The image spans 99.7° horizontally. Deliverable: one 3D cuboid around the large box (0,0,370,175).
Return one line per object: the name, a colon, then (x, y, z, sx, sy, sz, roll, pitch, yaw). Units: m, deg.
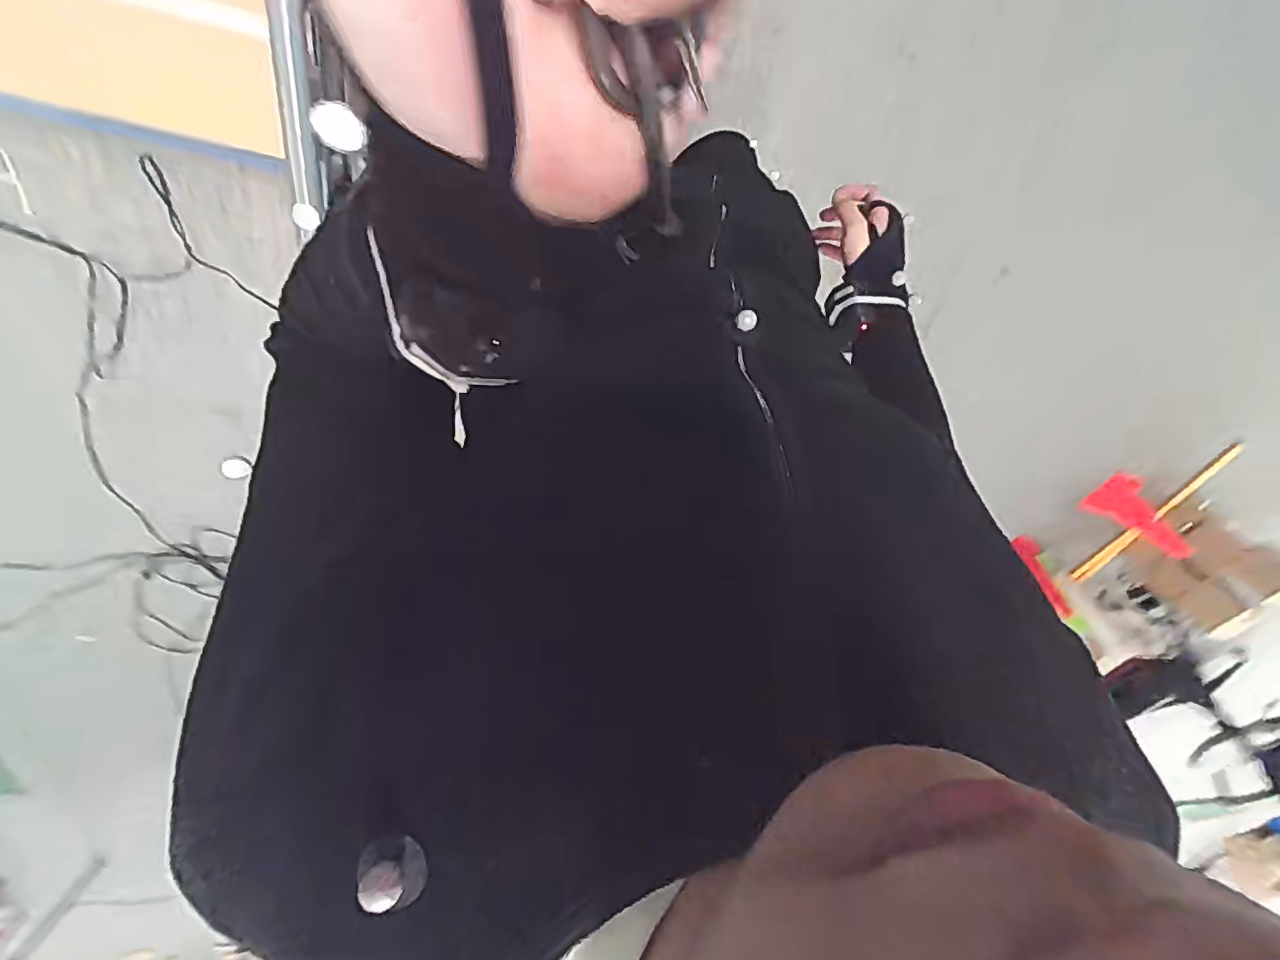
large box: (-0.683, -0.698, 0.825, 0.408, 0.320, 0.320, 3, 129, -12)
